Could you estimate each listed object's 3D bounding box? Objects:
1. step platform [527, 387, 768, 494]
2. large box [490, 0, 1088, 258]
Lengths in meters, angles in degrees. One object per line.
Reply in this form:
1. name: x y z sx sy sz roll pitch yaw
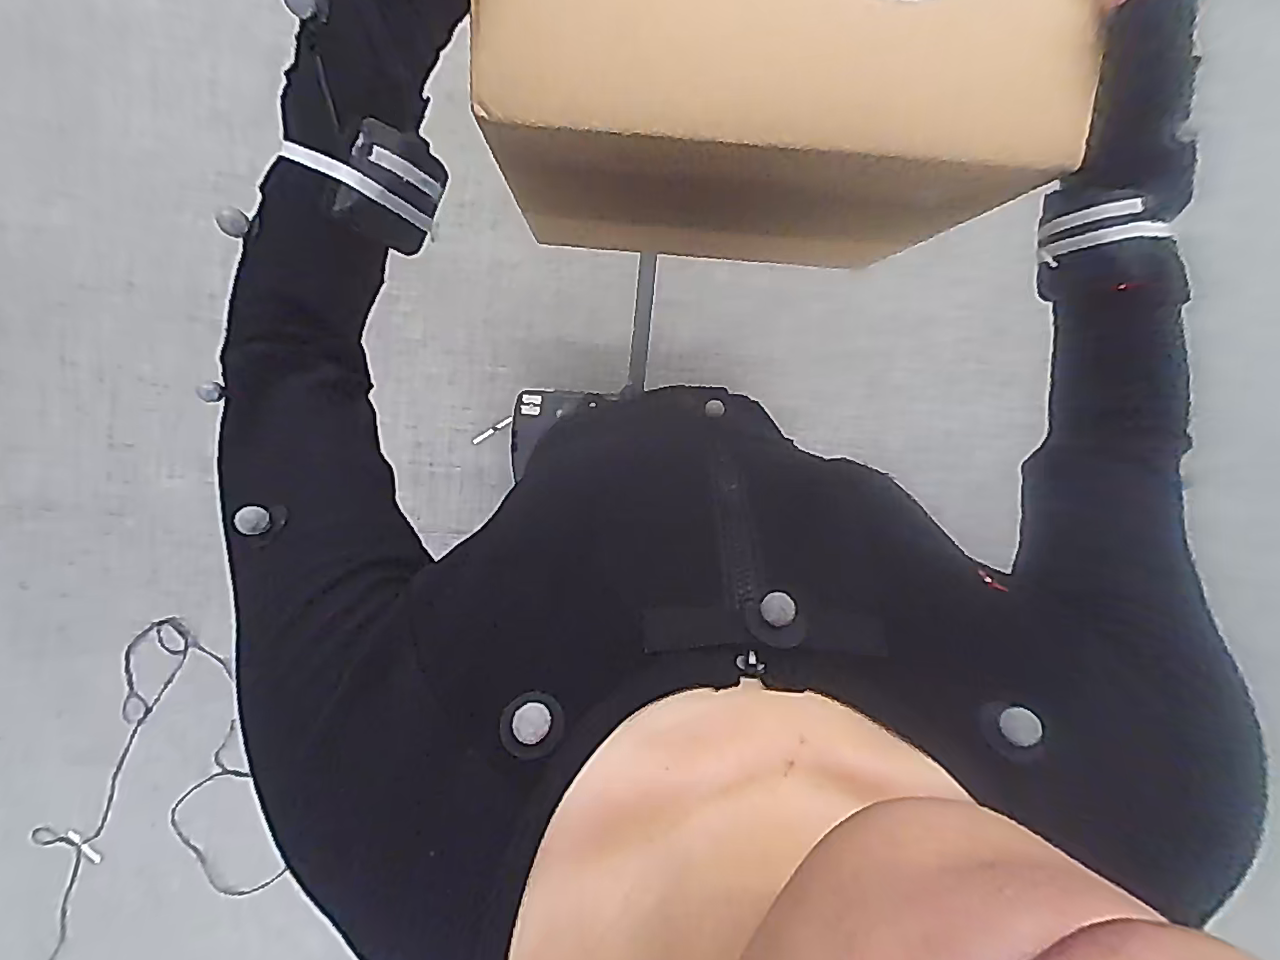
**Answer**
1. step platform: 0.020 -0.114 1.565 0.684 0.204 0.286 2 97 -4
2. large box: 0.093 -0.403 0.486 0.408 0.320 0.320 2 100 -5
